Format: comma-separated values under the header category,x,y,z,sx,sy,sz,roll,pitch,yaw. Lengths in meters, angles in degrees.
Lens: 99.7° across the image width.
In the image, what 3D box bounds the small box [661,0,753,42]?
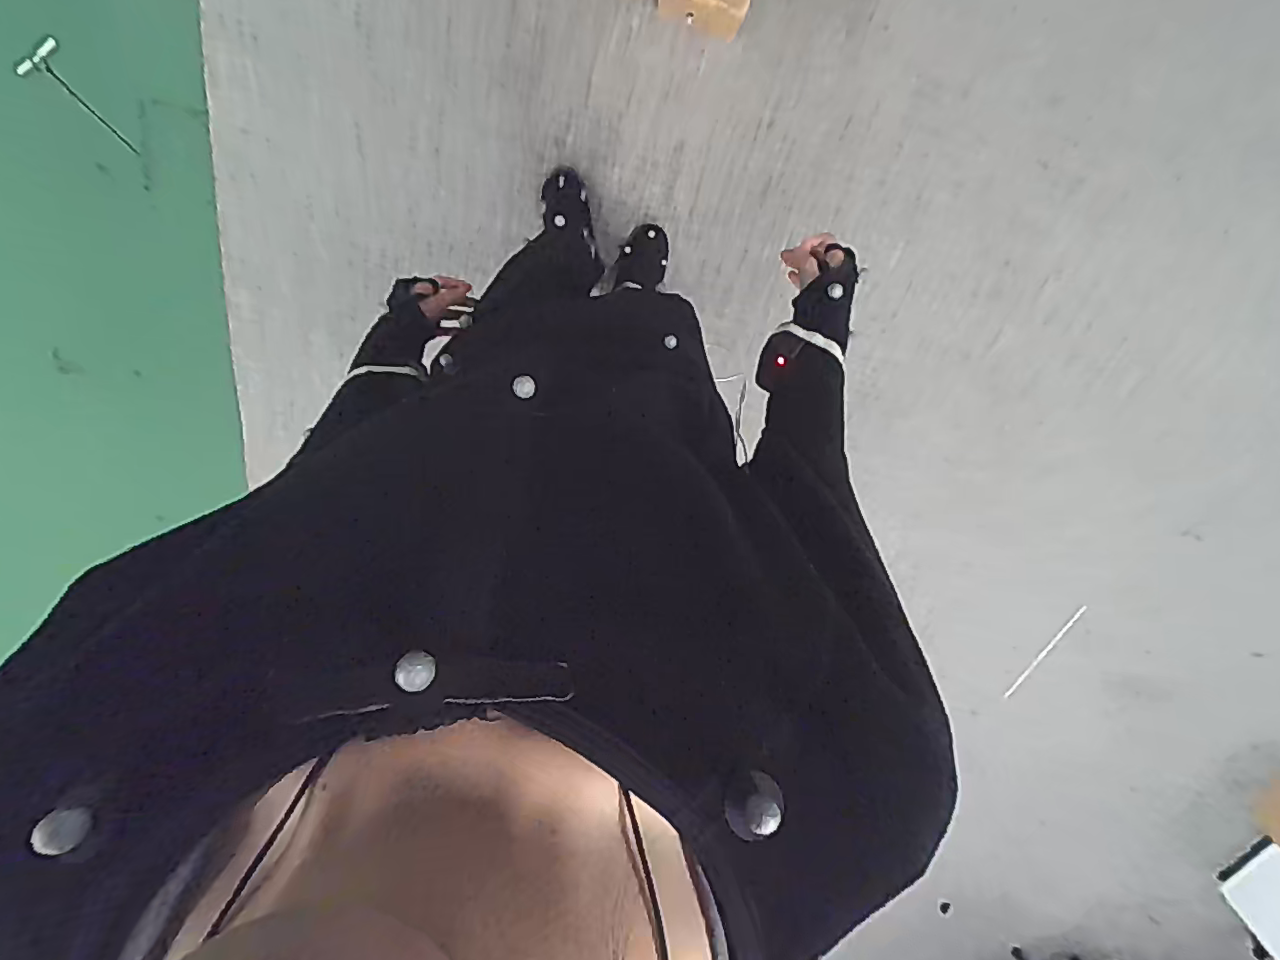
category,x,y,z,sx,sy,sz,roll,pitch,yaw
small box,0.138,-0.955,0.999,0.168,0.176,0.179,14,119,-7
